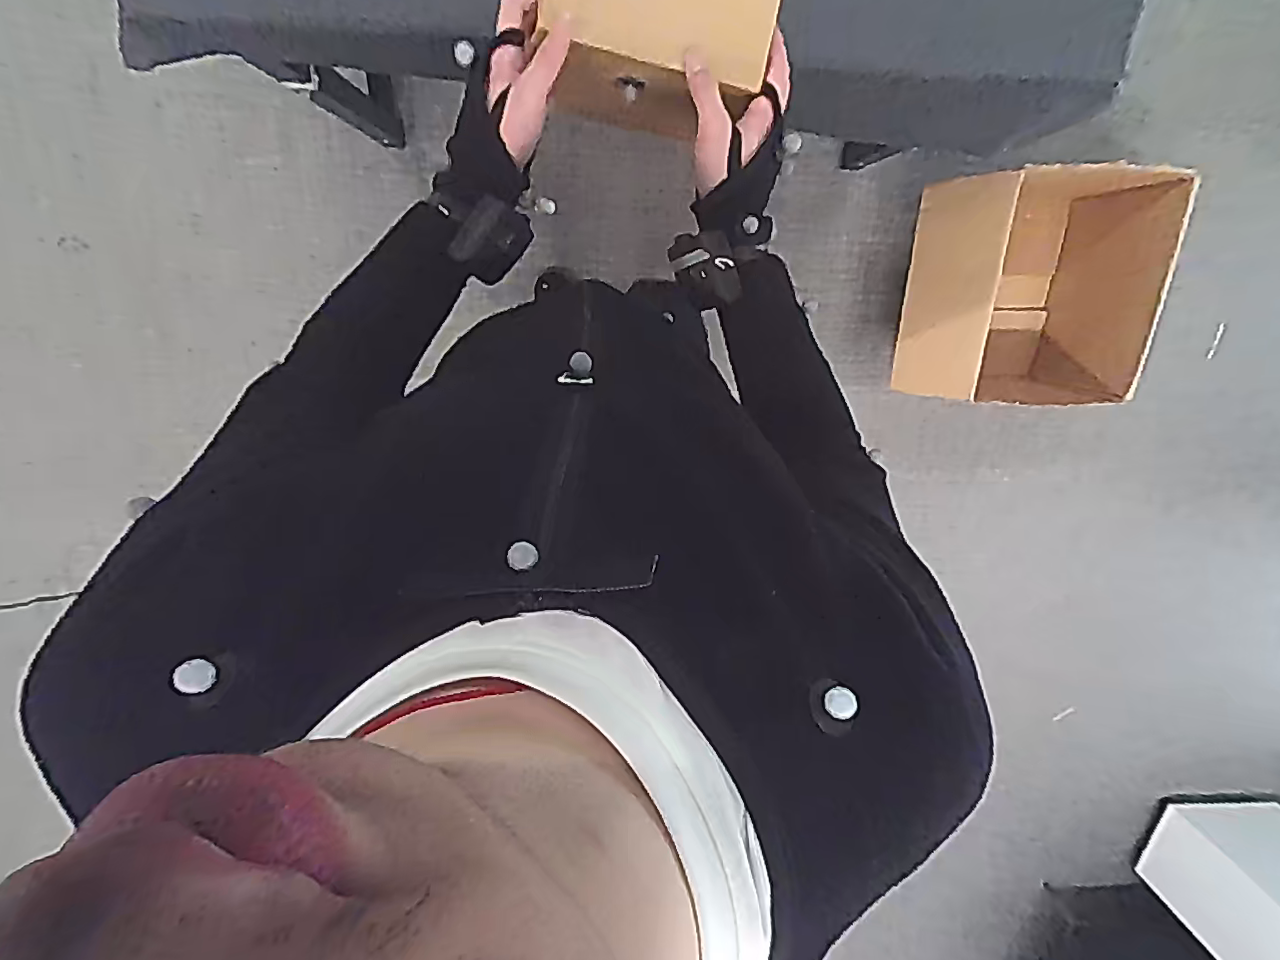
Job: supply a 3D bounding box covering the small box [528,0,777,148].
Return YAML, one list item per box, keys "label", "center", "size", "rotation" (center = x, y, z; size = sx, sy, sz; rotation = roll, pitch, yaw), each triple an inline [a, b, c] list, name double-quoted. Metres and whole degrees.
- label: "small box"
  center: [0.017, -0.412, 0.460]
  size: [0.179, 0.176, 0.168]
  rotation: [13, 107, -9]
